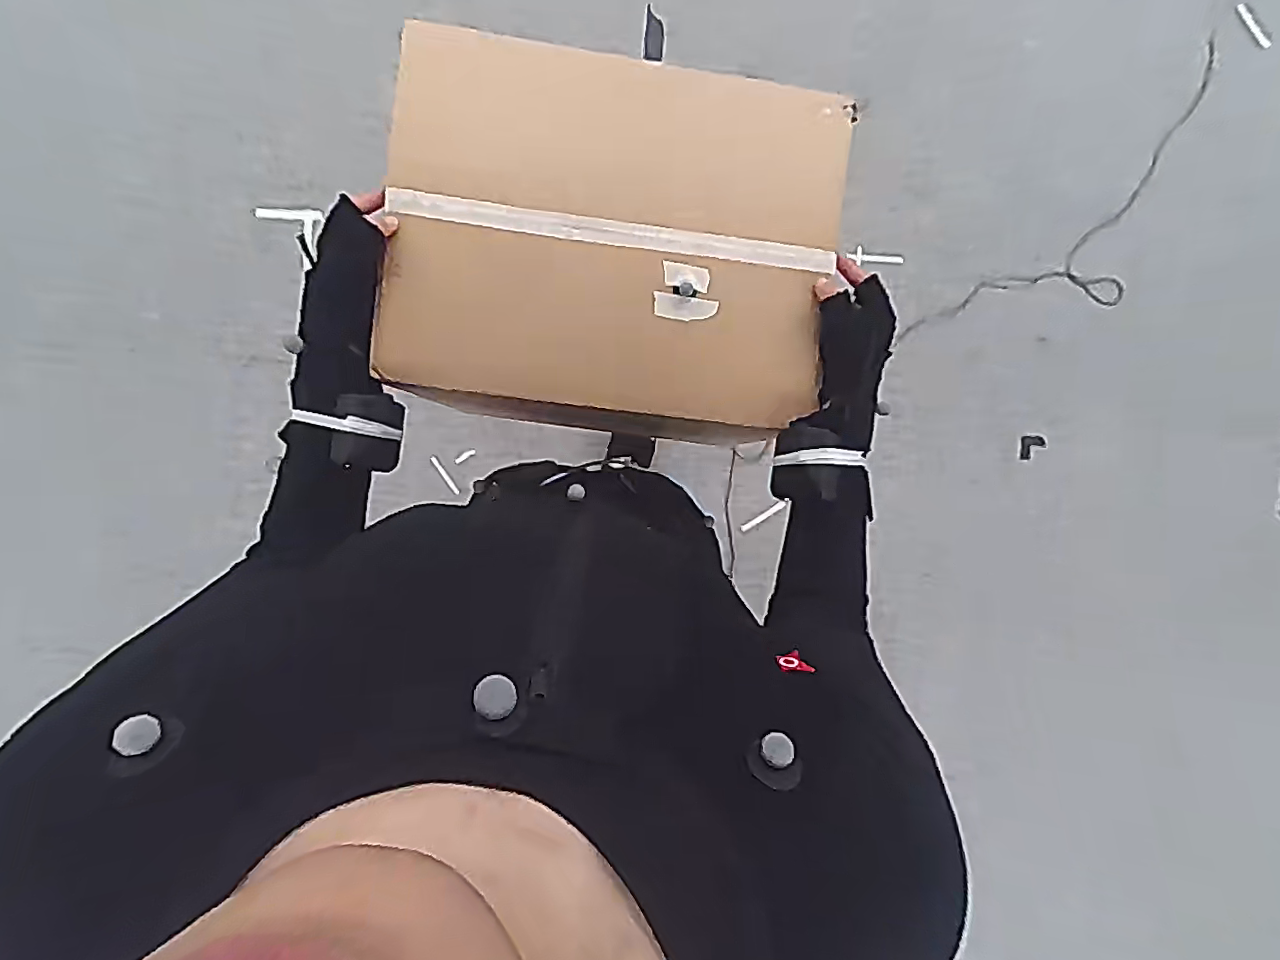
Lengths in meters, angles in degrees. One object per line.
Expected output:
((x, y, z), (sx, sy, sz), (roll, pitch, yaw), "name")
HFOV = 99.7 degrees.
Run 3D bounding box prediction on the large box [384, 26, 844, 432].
((-0.033, -0.235, 0.642), (0.408, 0.320, 0.320), (6, 93, -5), "large box")
